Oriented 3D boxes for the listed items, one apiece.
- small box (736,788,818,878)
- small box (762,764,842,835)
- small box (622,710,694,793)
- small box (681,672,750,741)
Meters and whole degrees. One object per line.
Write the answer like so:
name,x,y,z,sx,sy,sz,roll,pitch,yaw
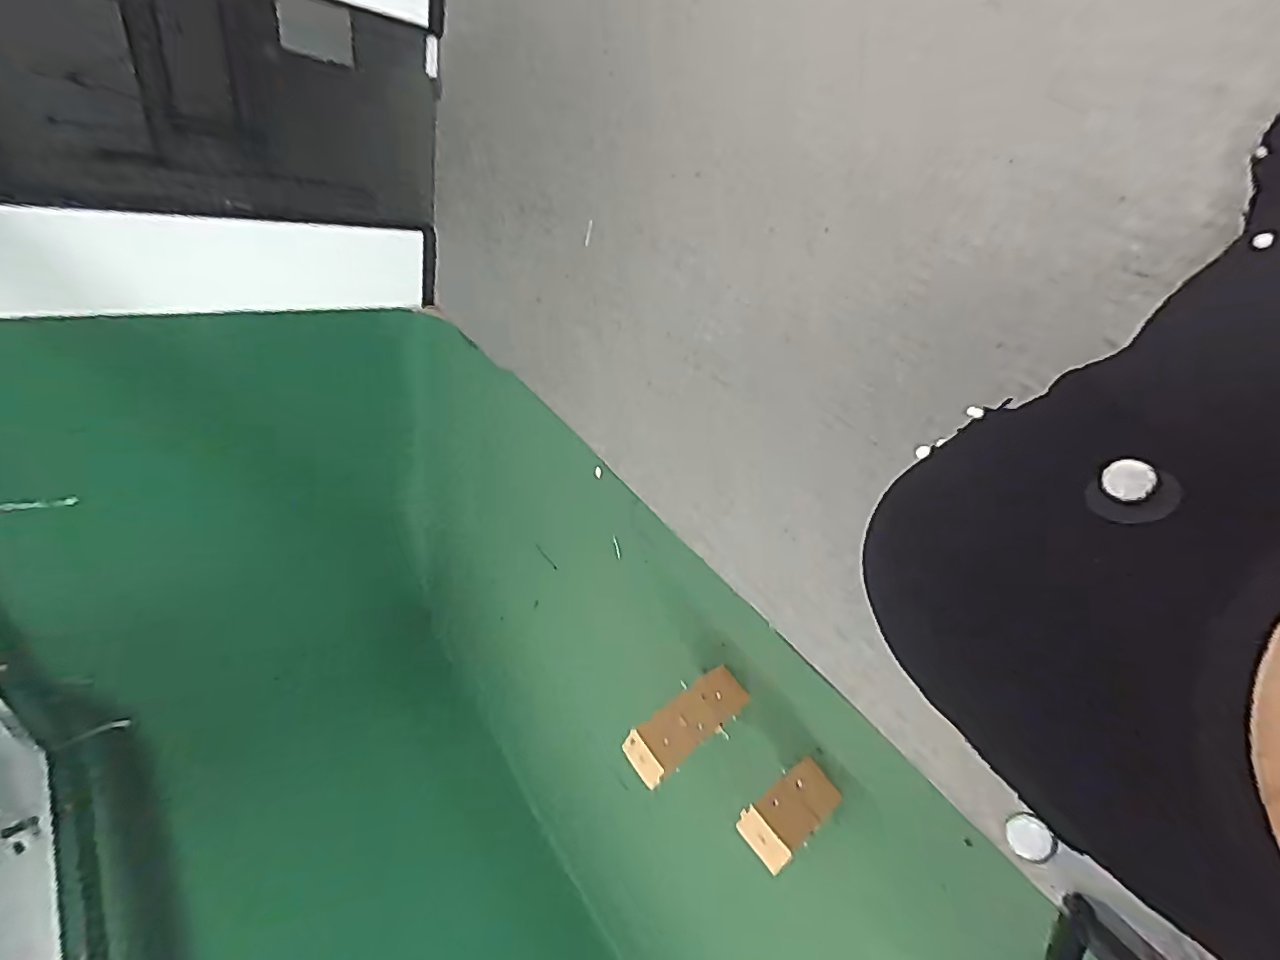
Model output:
small box,0.463,1.179,1.824,0.179,0.176,0.168,41,131,32
small box,0.579,1.151,1.935,0.179,0.176,0.168,48,134,27
small box,0.068,0.976,1.955,0.179,0.176,0.168,45,133,29
small box,0.303,0.898,2.170,0.179,0.176,0.168,47,133,28
